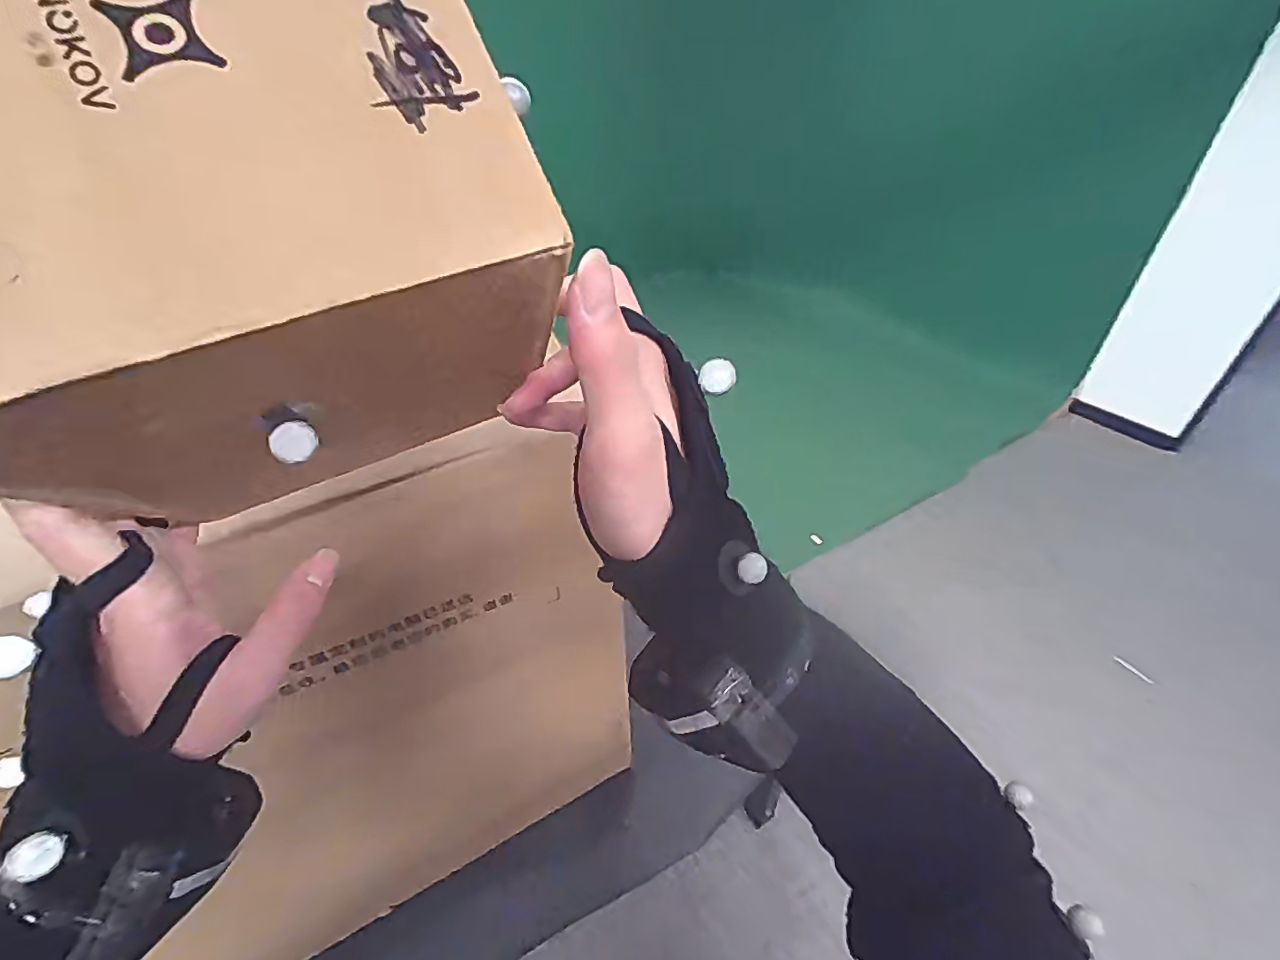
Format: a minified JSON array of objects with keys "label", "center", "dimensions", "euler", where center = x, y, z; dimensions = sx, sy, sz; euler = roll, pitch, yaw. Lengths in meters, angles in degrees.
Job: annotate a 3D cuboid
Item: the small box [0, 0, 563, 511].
[{"label":"small box","center":[-0.147,-0.095,0.214],"dimensions":[0.179,0.168,0.176],"euler":[-24,0,-16]}]
